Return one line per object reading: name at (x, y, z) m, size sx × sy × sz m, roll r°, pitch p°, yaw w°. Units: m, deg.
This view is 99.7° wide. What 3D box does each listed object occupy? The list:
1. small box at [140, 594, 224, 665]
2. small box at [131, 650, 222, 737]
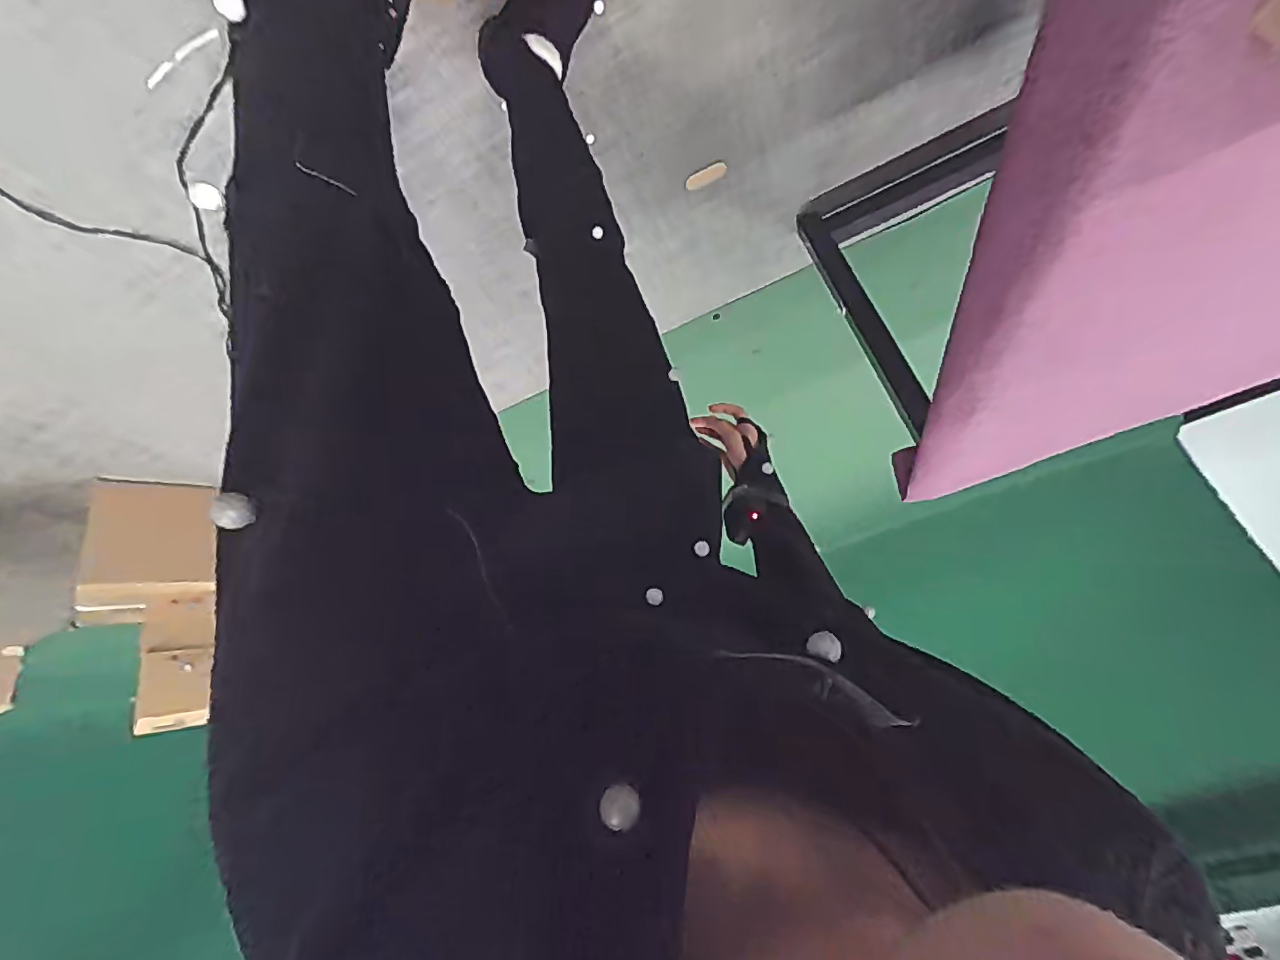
small box at (-1.286, 0.431, 1.523) m, size 0.168 × 0.176 × 0.179 m, roll 4°, pitch 147°, yaw -39°
small box at (-1.235, 0.567, 1.446) m, size 0.168 × 0.176 × 0.179 m, roll 8°, pitch 144°, yaw -43°
